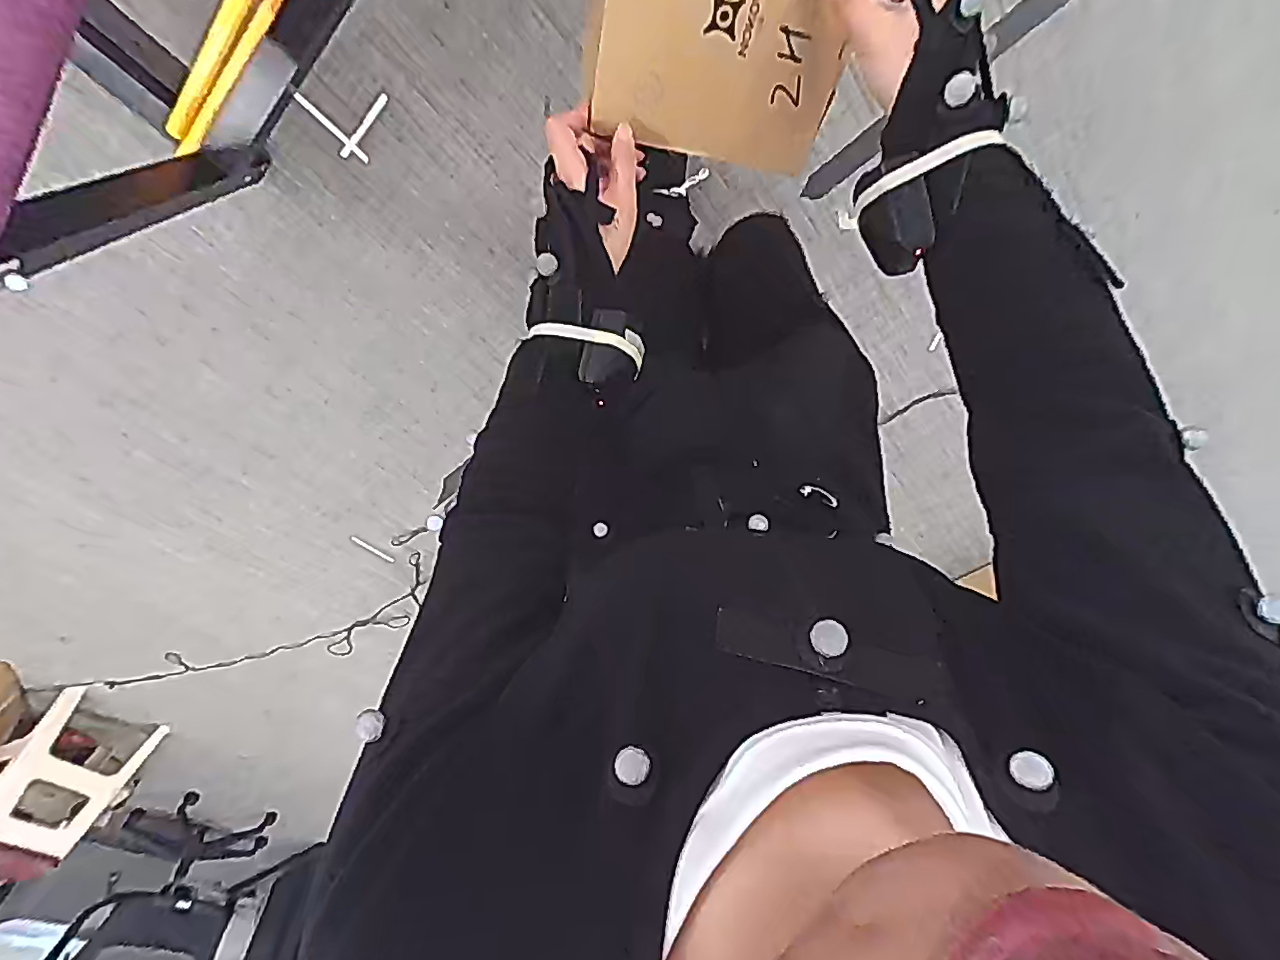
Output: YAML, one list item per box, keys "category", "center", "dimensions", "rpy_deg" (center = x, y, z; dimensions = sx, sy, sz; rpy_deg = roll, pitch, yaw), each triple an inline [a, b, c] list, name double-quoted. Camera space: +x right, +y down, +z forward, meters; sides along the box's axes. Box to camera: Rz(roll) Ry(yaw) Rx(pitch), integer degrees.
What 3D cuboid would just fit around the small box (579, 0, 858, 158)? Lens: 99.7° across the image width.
- category: "small box"
  center: [0.050, -0.375, 0.405]
  dimensions: [0.179, 0.176, 0.168]
  rpy_deg: [3, 139, -13]
